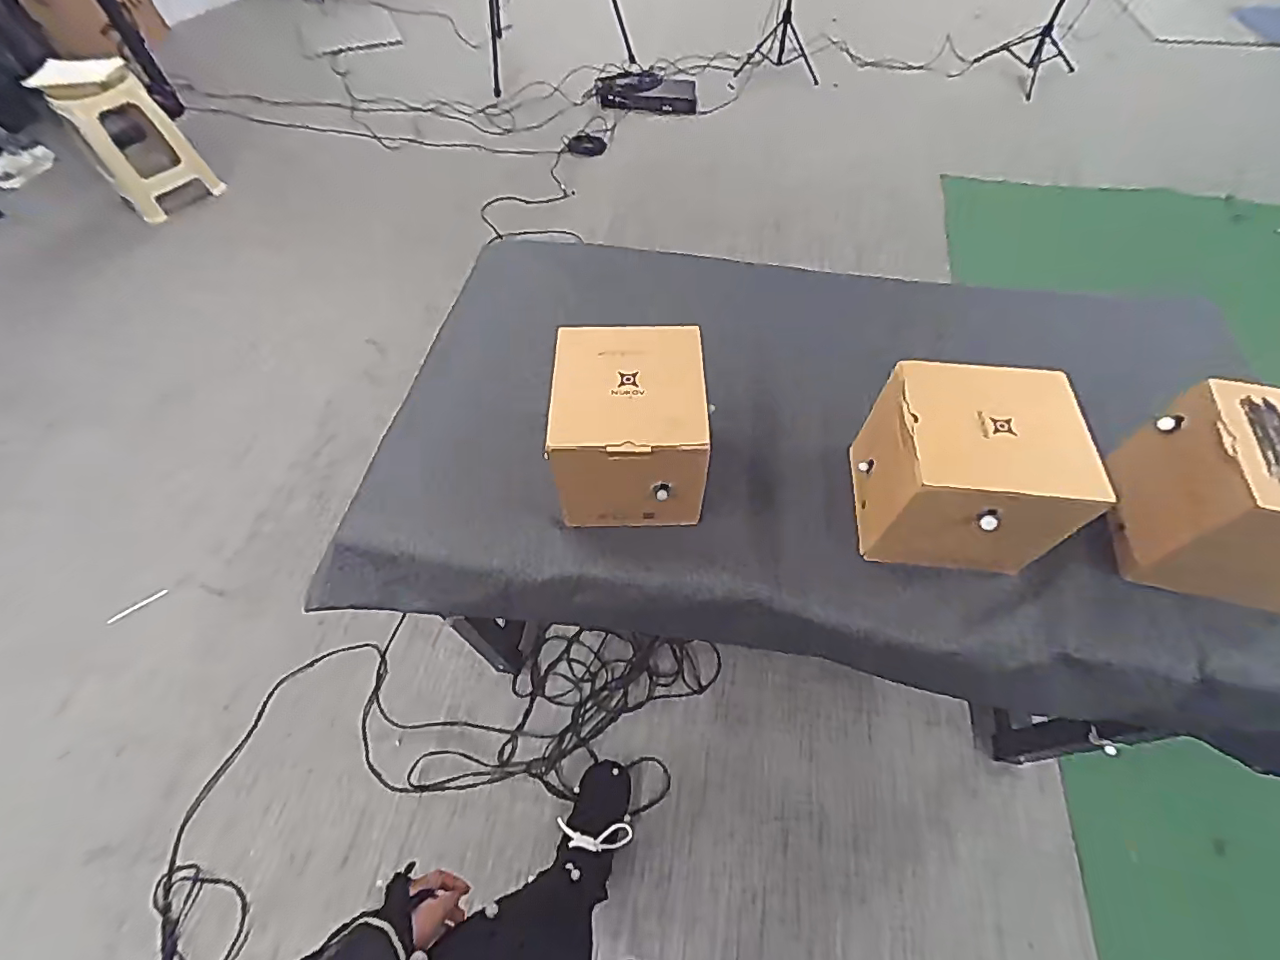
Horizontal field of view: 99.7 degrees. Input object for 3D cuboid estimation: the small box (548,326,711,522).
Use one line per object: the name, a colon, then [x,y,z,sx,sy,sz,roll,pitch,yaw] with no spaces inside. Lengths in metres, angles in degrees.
small box: [-0.010,-0.060,0.645,0.168,0.176,0.179,0,56,-1]

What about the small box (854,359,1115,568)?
small box: [0.360,-0.012,0.608,0.179,0.176,0.168,5,57,5]
